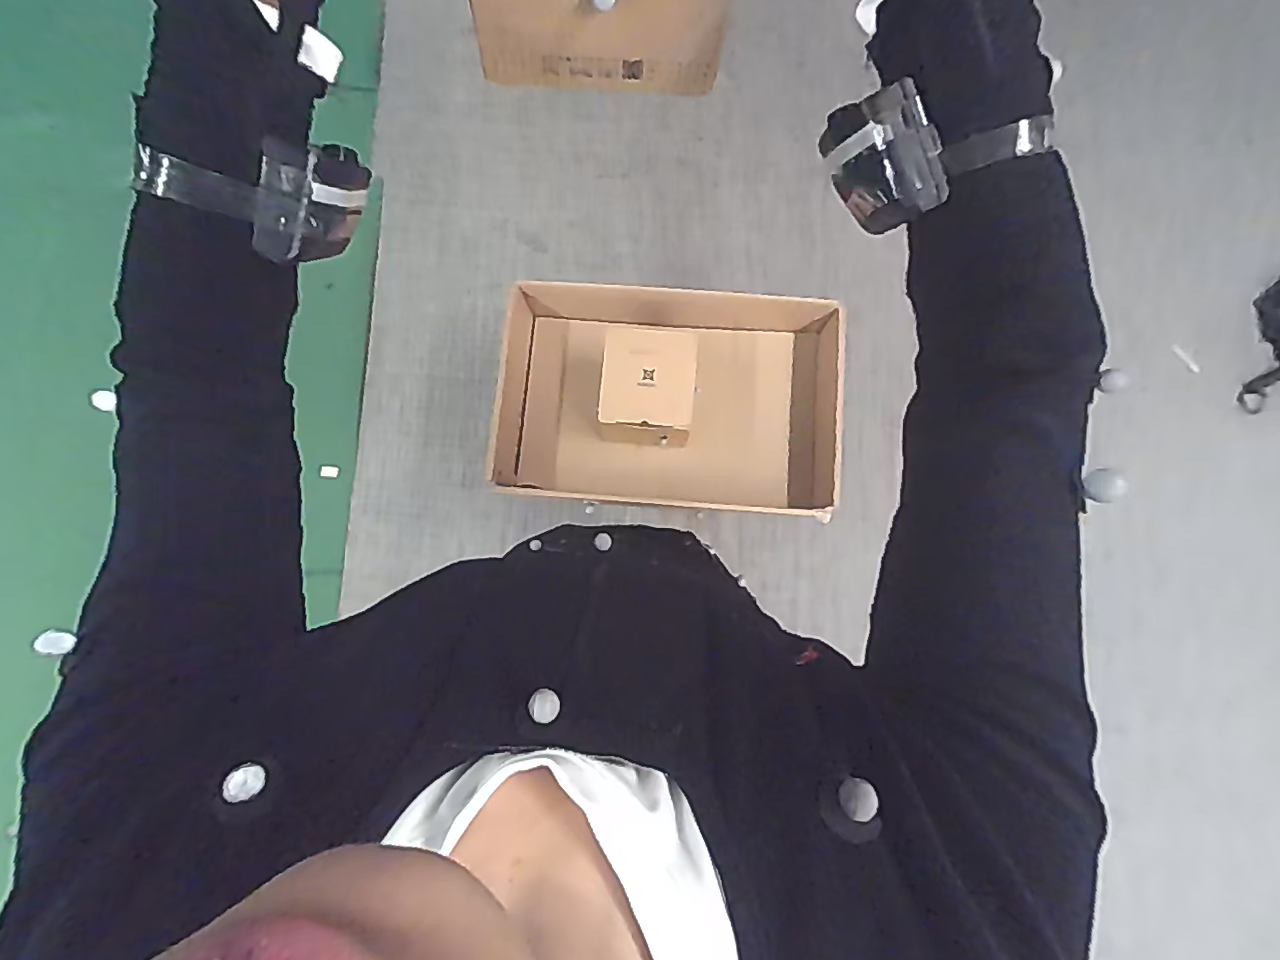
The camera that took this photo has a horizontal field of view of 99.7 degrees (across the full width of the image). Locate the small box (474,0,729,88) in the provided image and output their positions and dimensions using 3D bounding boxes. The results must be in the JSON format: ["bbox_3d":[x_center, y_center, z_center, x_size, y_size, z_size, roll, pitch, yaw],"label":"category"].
[{"bbox_3d":[-0.022,-0.380,0.326,0.168,0.176,0.179,0,81,-5],"label":"small box"}]

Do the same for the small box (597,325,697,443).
[{"bbox_3d":[0.014,-0.172,1.024,0.168,0.176,0.179,4,81,0],"label":"small box"}]
